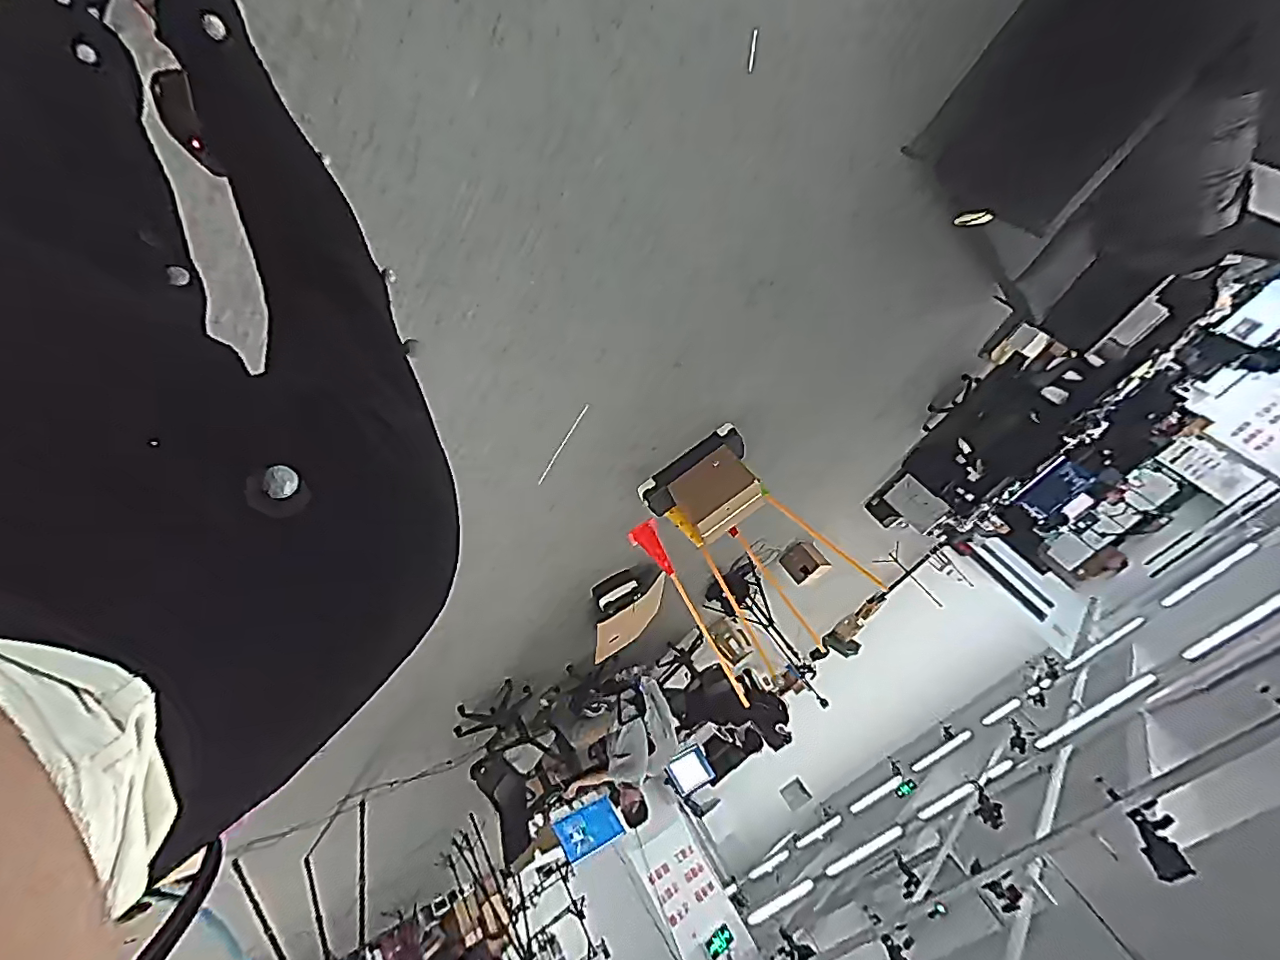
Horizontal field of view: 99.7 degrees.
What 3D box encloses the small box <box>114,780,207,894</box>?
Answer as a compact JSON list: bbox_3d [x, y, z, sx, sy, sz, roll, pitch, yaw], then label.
[{"bbox_3d":[-1.248,0.914,1.403,0.168,0.176,0.179,0,134,-46],"label":"small box"}]
